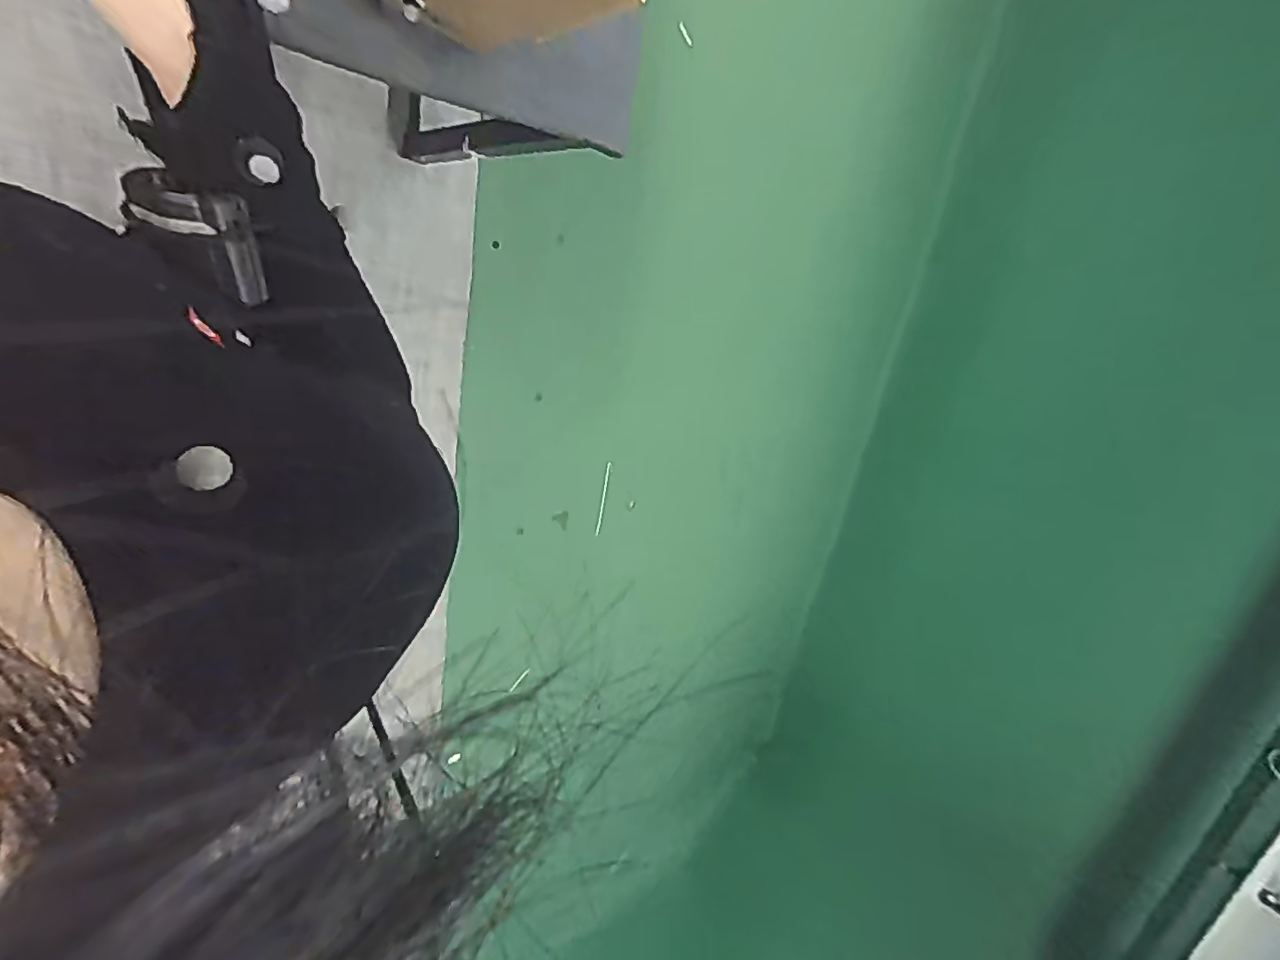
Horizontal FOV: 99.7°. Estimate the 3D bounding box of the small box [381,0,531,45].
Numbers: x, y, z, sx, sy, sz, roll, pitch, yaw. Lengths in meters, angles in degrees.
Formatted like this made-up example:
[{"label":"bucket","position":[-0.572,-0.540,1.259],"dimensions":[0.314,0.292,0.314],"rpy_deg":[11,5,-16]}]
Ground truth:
[{"label":"small box","position":[-0.197,-0.592,0.548],"dimensions":[0.168,0.176,0.179],"rpy_deg":[-5,113,-45]}]
